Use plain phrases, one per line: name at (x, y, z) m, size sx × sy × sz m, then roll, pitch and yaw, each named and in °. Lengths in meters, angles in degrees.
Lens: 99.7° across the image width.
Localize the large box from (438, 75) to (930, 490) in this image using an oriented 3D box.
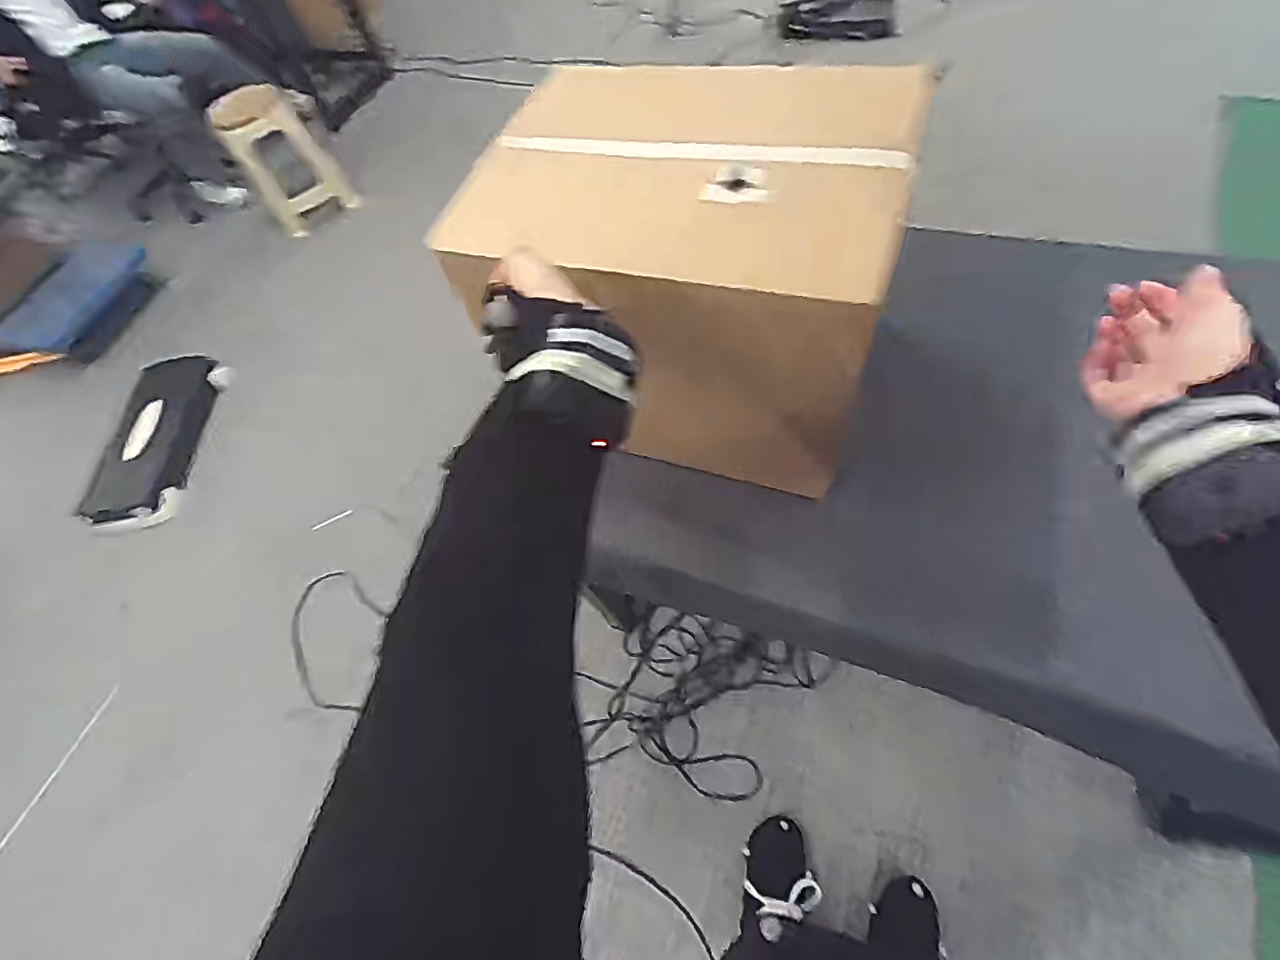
large box at (0.063, -0.227, 0.639) m, size 0.408 × 0.320 × 0.320 m, roll 15°, pitch 65°, yaw 17°
